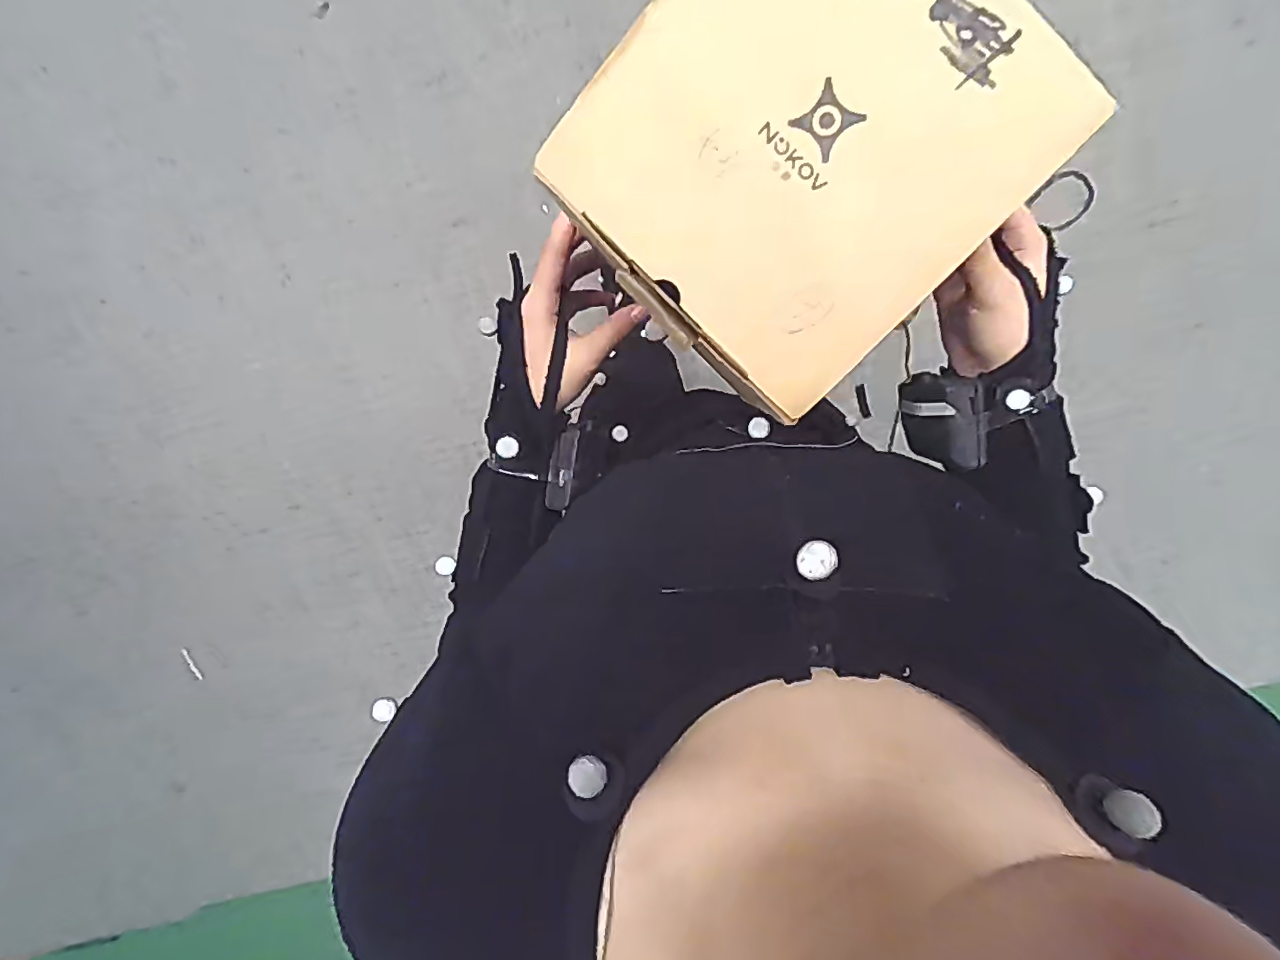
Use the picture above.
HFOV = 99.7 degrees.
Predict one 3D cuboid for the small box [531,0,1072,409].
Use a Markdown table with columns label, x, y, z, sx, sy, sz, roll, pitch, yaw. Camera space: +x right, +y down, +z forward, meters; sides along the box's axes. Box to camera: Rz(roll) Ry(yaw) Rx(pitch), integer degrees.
| label | x | y | z | sx | sy | sz | roll | pitch | yaw |
| --- | --- | --- | --- | --- | --- | --- | --- | --- | --- |
| small box | 0.073 | -0.163 | 0.314 | 0.168 | 0.176 | 0.179 | 43 | 103 | -4 |
